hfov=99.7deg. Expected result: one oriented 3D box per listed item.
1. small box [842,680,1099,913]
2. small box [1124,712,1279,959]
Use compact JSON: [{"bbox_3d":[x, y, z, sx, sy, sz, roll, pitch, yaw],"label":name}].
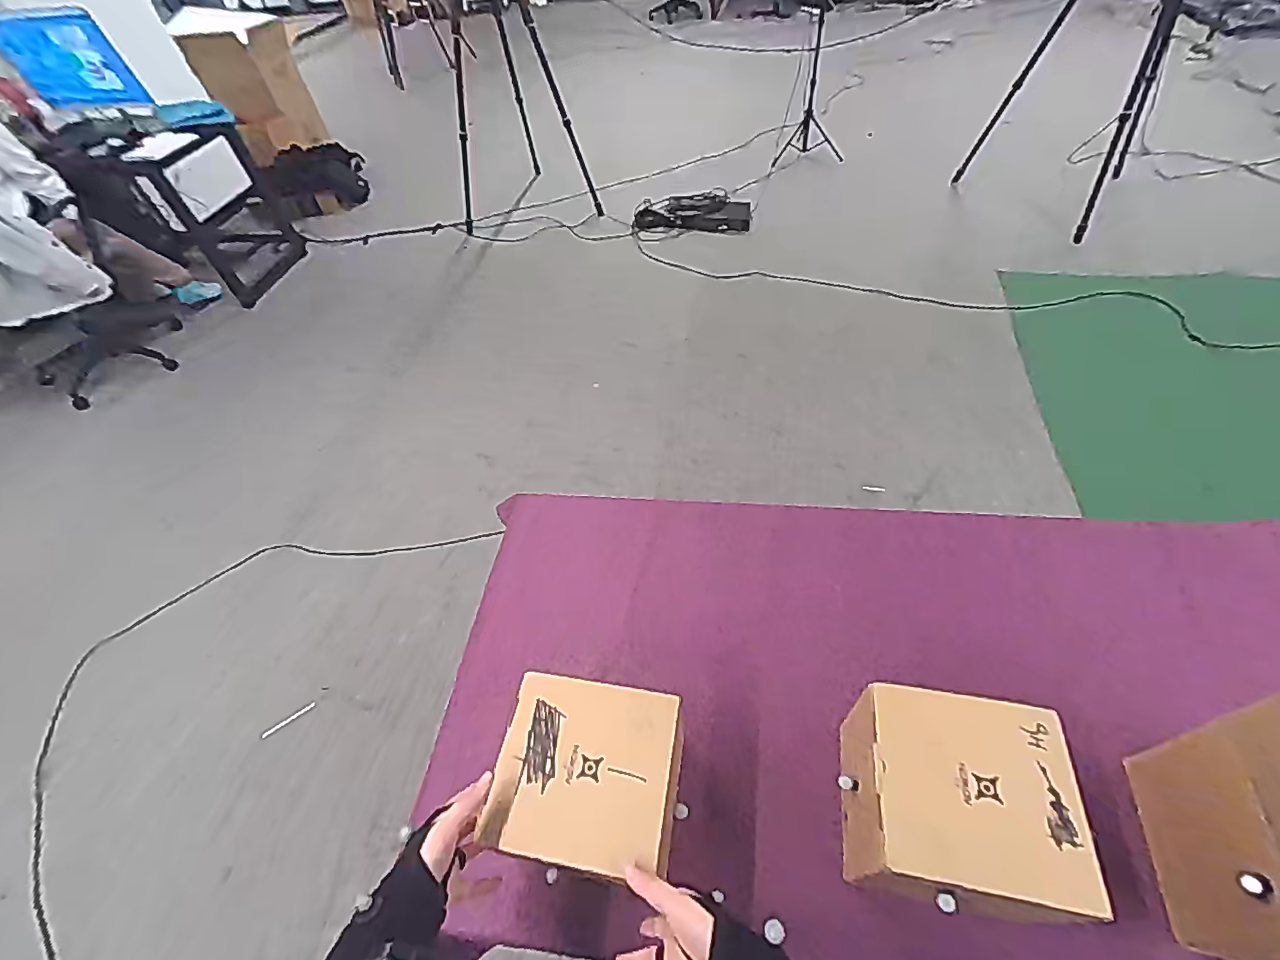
[{"bbox_3d":[0.313,0.331,0.563,0.179,0.176,0.168,5,51,12],"label":"small box"},{"bbox_3d":[0.620,0.350,0.514,0.168,0.176,0.179,6,52,12],"label":"small box"}]
